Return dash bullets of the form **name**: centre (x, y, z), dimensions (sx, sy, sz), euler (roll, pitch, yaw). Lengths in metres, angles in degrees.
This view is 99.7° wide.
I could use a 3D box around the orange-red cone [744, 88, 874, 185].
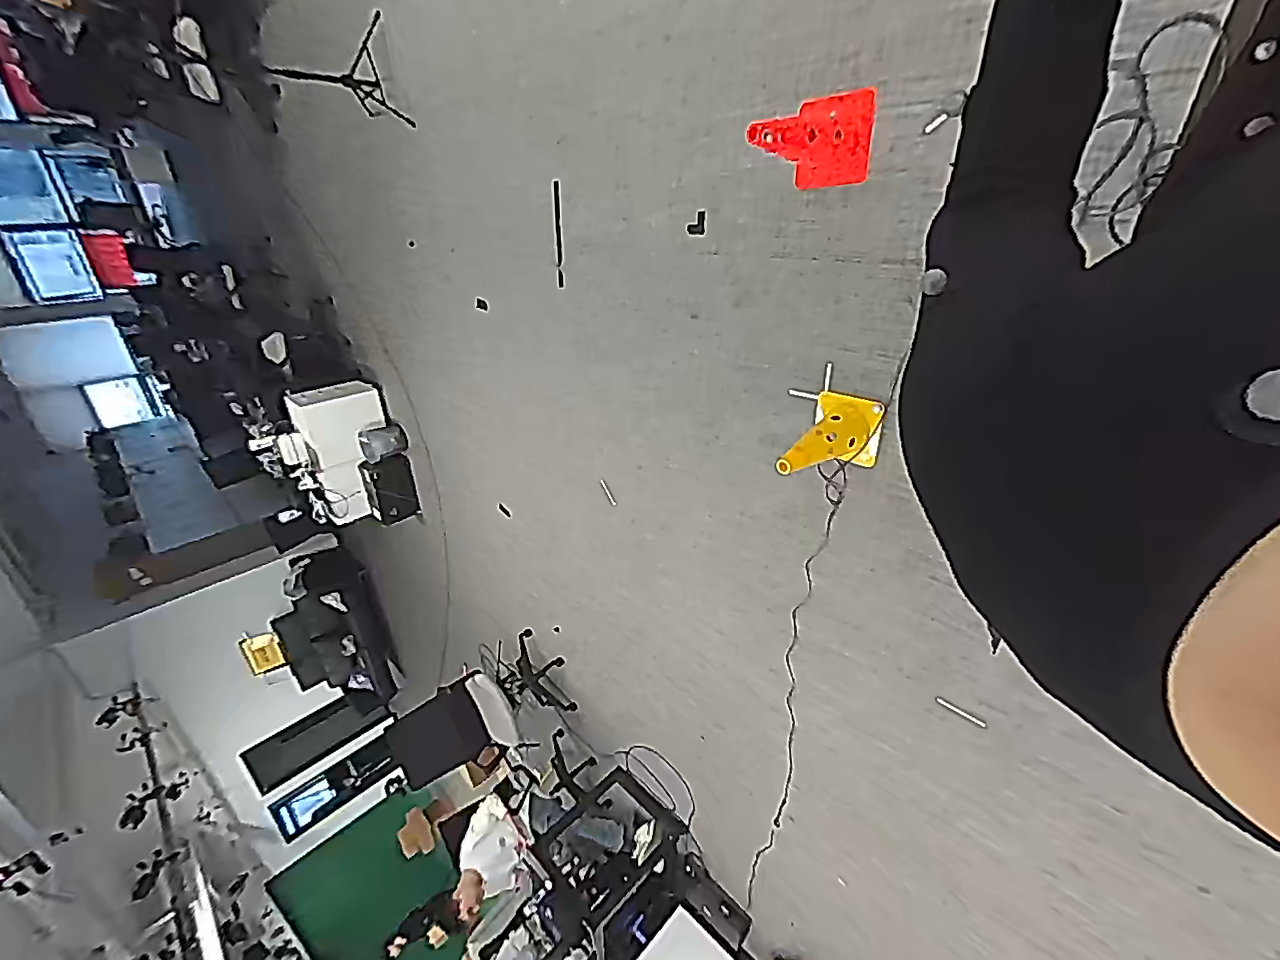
- **orange-red cone**: centre (0.361, -0.794, 1.252), dimensions (0.198, 0.360, 0.199), euler (22, 127, 41)
